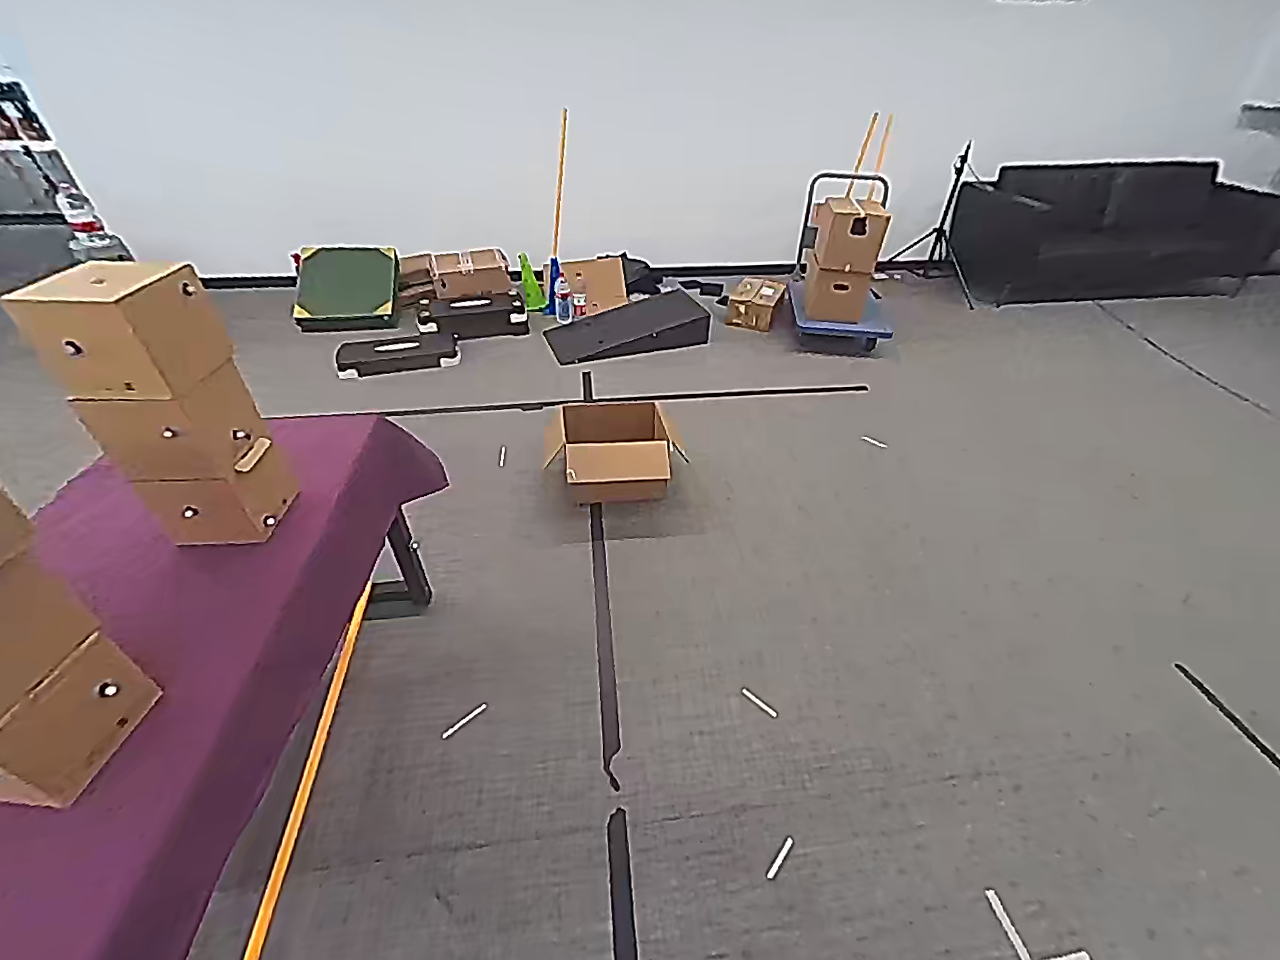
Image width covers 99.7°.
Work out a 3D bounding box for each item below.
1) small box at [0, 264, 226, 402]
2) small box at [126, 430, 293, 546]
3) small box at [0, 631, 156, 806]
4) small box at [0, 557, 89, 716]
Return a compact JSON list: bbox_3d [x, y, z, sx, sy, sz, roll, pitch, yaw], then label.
[{"bbox_3d":[-0.830,-0.239,0.879,0.168,0.176,0.179,0,39,-1],"label":"small box"},{"bbox_3d":[-0.839,0.017,1.082,0.179,0.176,0.168,-2,40,-3],"label":"small box"},{"bbox_3d":[-0.823,0.313,0.724,0.179,0.176,0.168,3,39,3],"label":"small box"},{"bbox_3d":[-0.823,0.183,0.625,0.168,0.176,0.179,5,38,3],"label":"small box"}]
